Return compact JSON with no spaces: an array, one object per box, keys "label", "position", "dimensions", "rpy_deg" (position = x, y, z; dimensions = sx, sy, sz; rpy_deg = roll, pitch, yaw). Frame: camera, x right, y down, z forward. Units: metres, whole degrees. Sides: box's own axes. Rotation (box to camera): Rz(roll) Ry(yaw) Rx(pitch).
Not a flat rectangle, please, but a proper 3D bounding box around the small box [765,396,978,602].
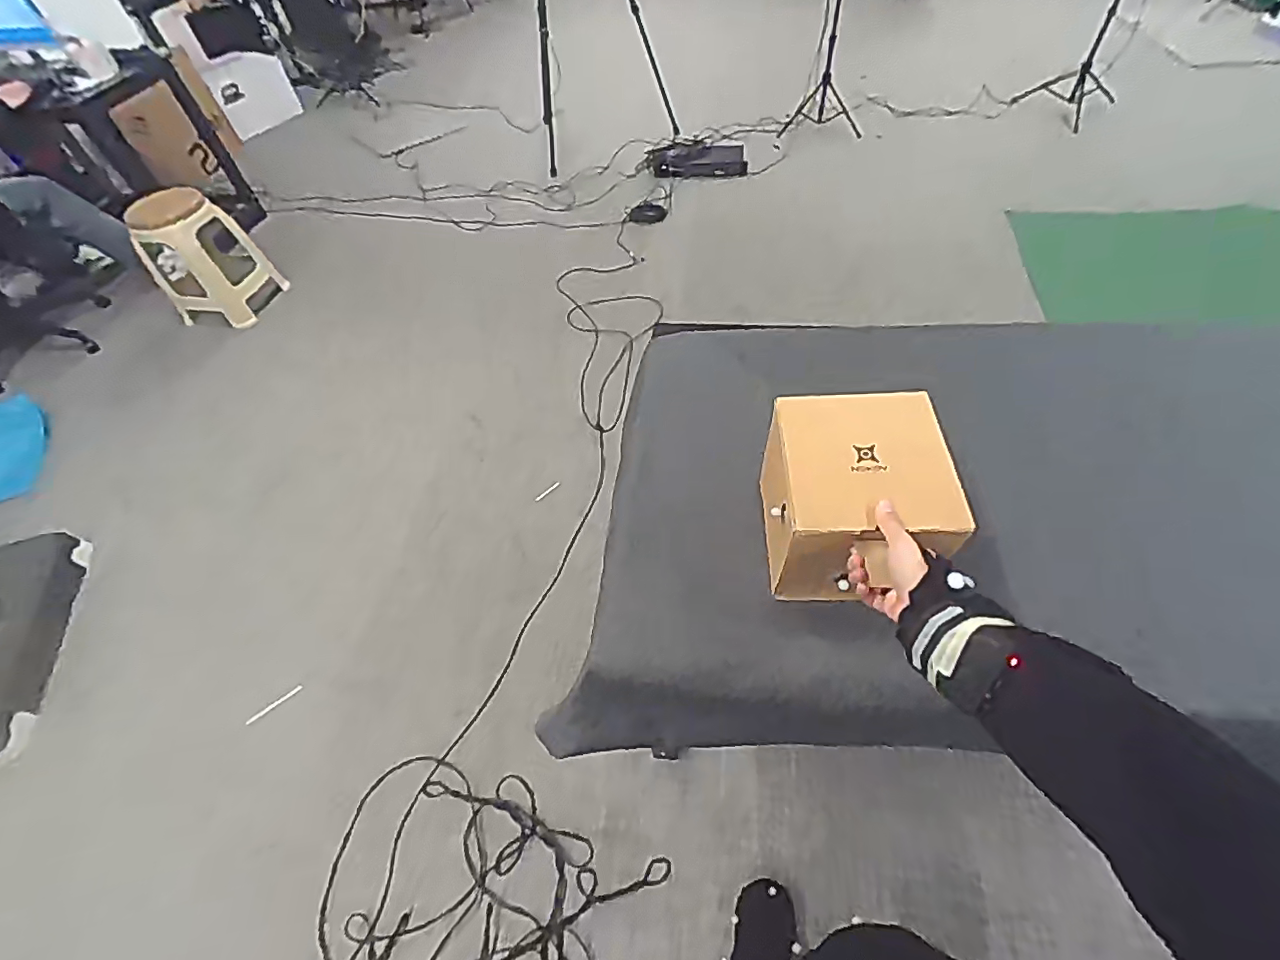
[{"label":"small box","position":[0.241,0.024,0.619],"dimensions":[0.168,0.176,0.179],"rpy_deg":[-1,55,5]}]
